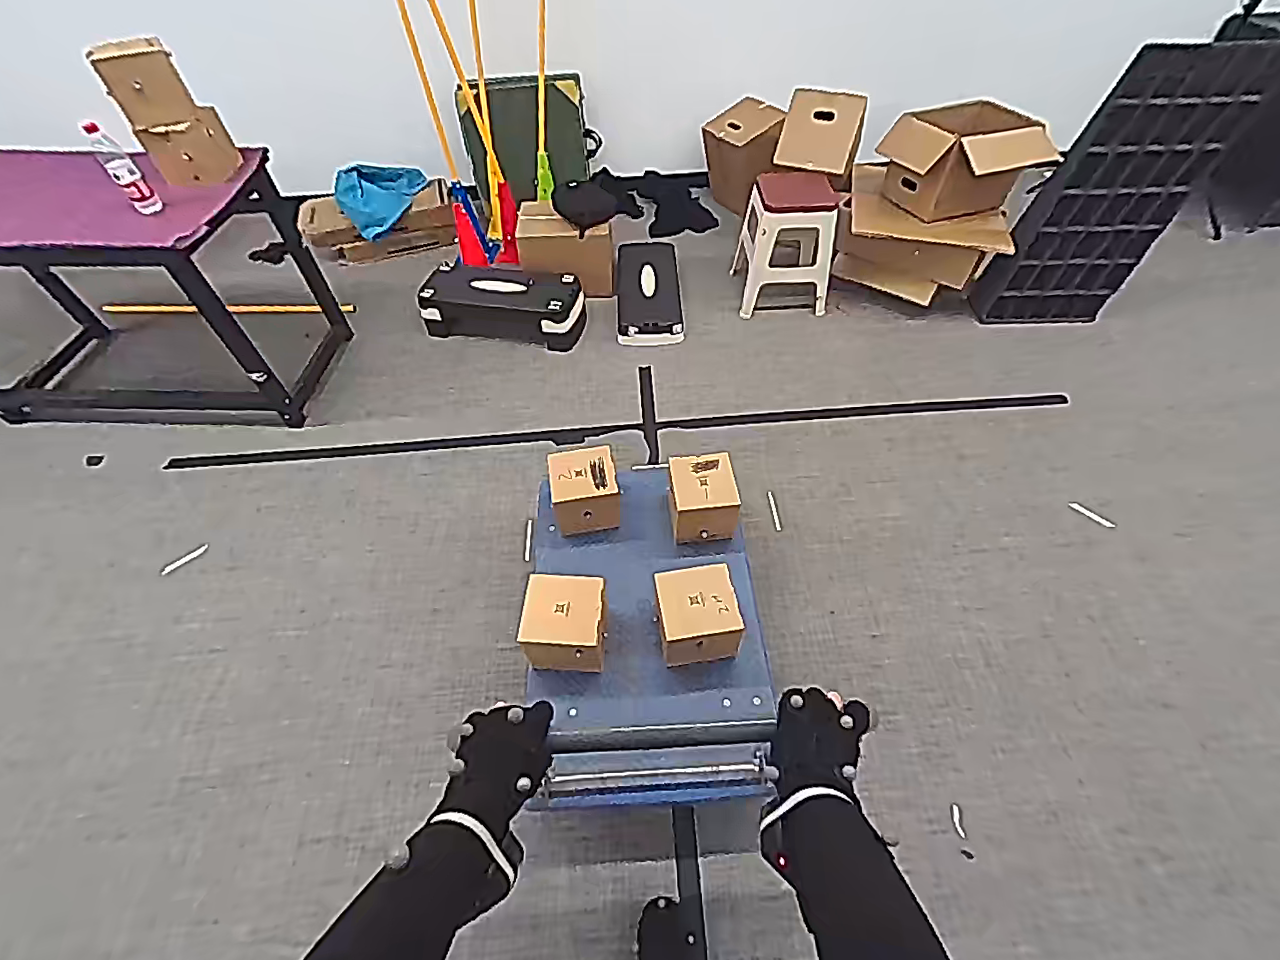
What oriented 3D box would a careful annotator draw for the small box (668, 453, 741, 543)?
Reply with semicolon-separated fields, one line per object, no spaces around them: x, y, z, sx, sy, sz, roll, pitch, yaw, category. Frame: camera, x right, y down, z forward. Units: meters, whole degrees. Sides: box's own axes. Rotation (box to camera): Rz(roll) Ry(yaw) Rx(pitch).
0.167;0.050;1.471;0.168;0.176;0.179;-5;54;-2;small box

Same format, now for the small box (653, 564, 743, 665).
0.130;0.319;1.268;0.179;0.176;0.168;-7;53;-4;small box

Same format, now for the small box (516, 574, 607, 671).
-0.174;0.335;1.263;0.179;0.176;0.168;3;52;2;small box
